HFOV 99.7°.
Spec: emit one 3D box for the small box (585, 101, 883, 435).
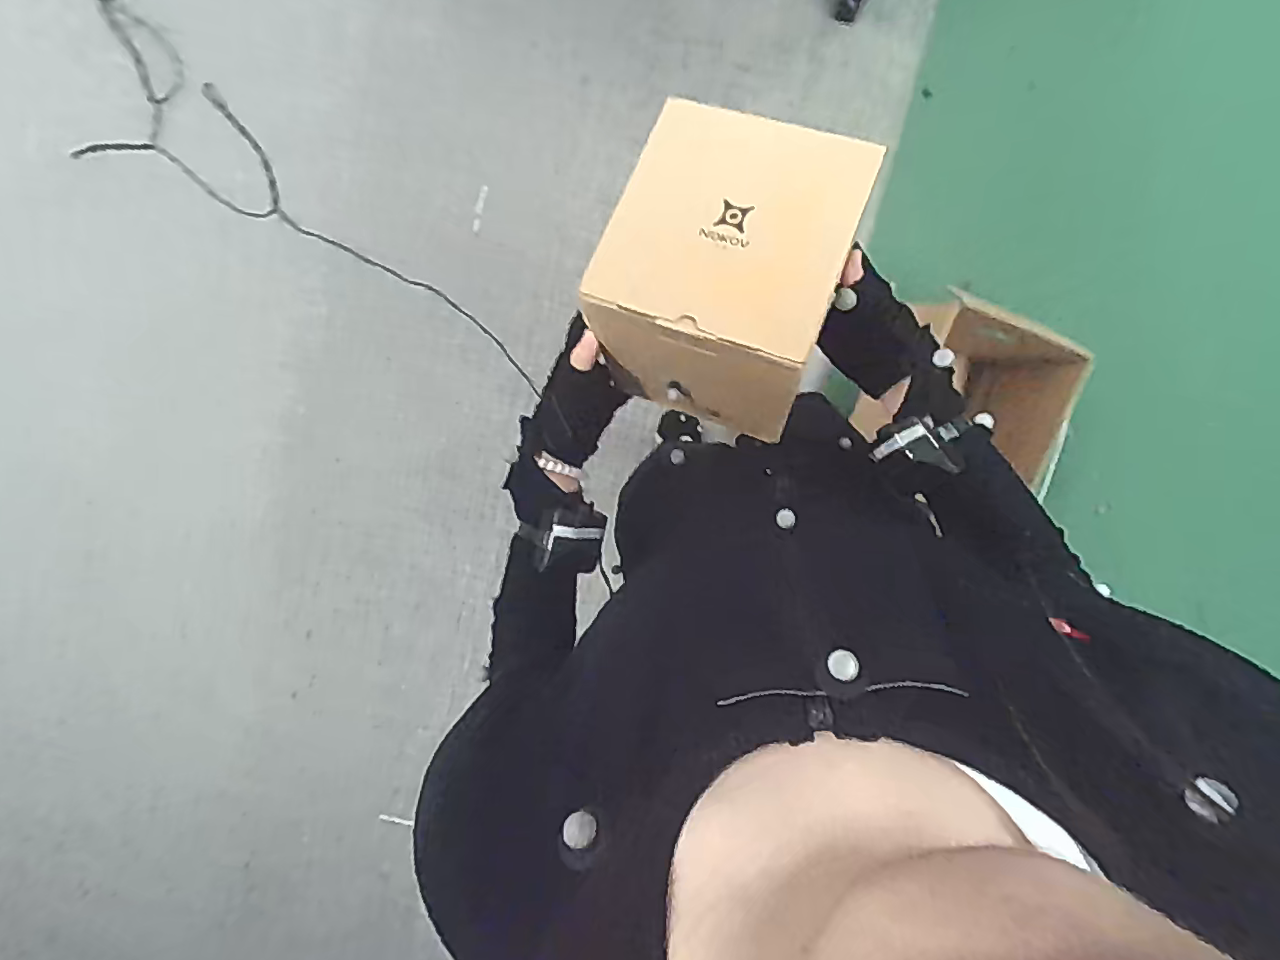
[{"bbox_3d":[0.074,-0.160,0.452,0.168,0.176,0.179,19,80,12],"label":"small box"}]
